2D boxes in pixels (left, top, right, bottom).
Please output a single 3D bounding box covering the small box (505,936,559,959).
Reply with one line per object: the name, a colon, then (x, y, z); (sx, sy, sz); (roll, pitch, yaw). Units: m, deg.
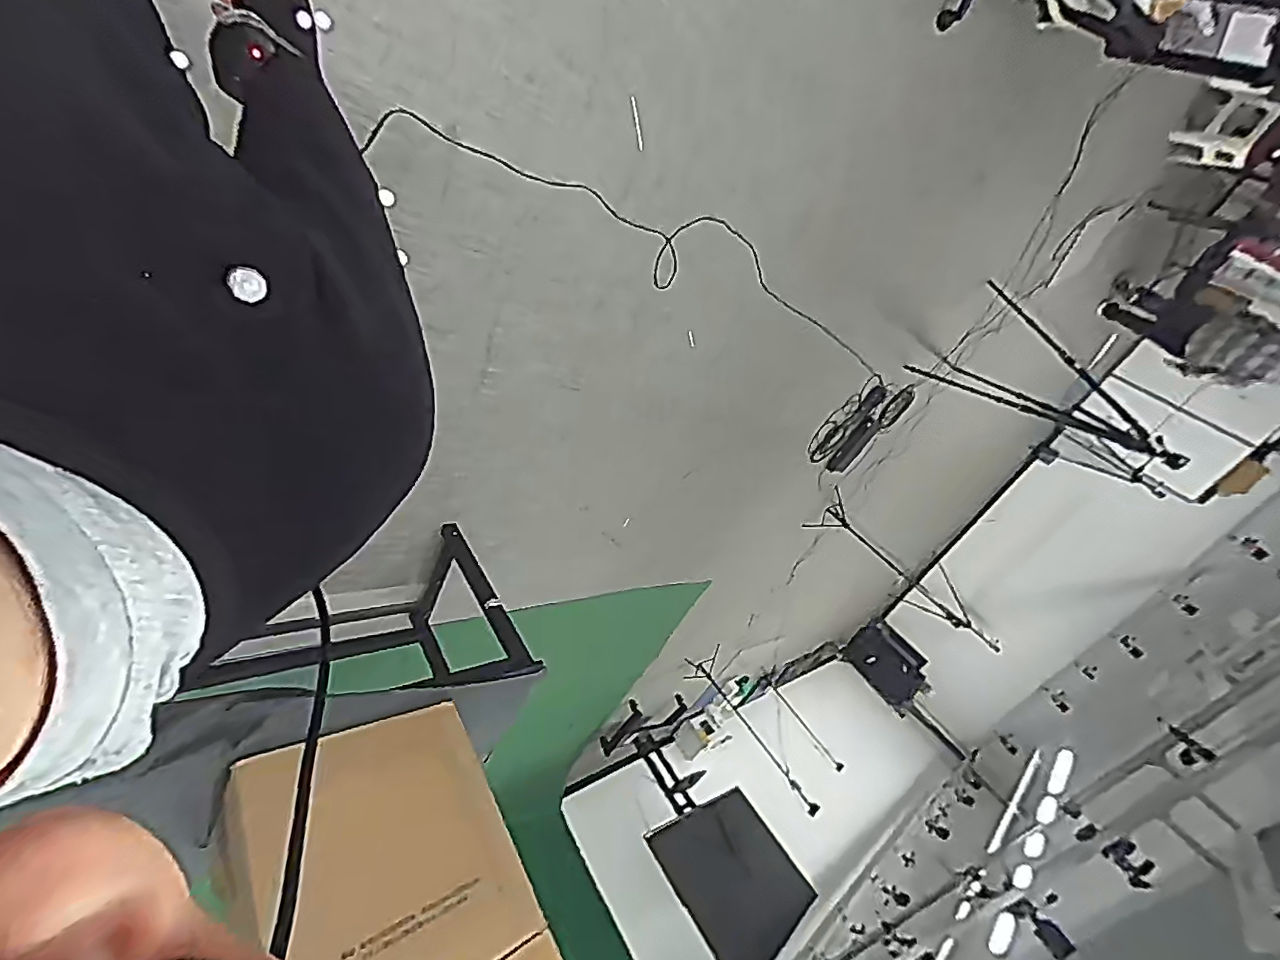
small box: (-0.266, 1.166, 1.197); (0.168, 0.176, 0.179); (3, 127, -47)
